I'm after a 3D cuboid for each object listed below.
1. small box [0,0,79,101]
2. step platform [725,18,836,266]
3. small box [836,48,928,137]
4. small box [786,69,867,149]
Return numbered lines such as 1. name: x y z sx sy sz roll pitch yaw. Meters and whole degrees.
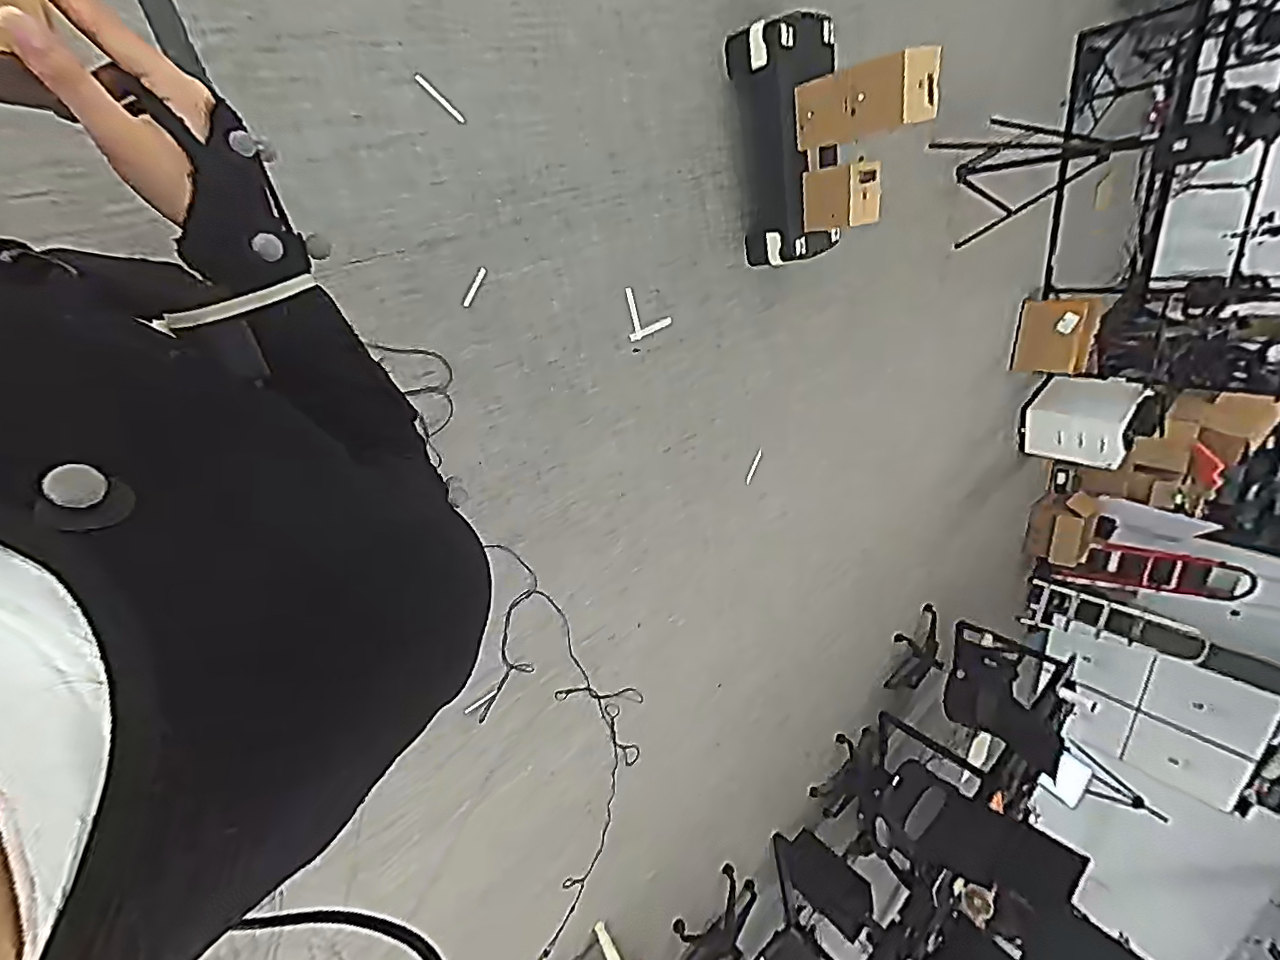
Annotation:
1. small box: -0.386 -0.286 0.231 0.179 0.176 0.168 -16 119 -40
2. step platform: 0.481 -1.082 1.789 0.286 0.204 0.684 -31 121 -30
3. small box: 0.665 -1.066 1.492 0.179 0.176 0.168 -29 121 -30
4. small box: 0.560 -1.104 1.613 0.179 0.176 0.168 -28 120 -30
